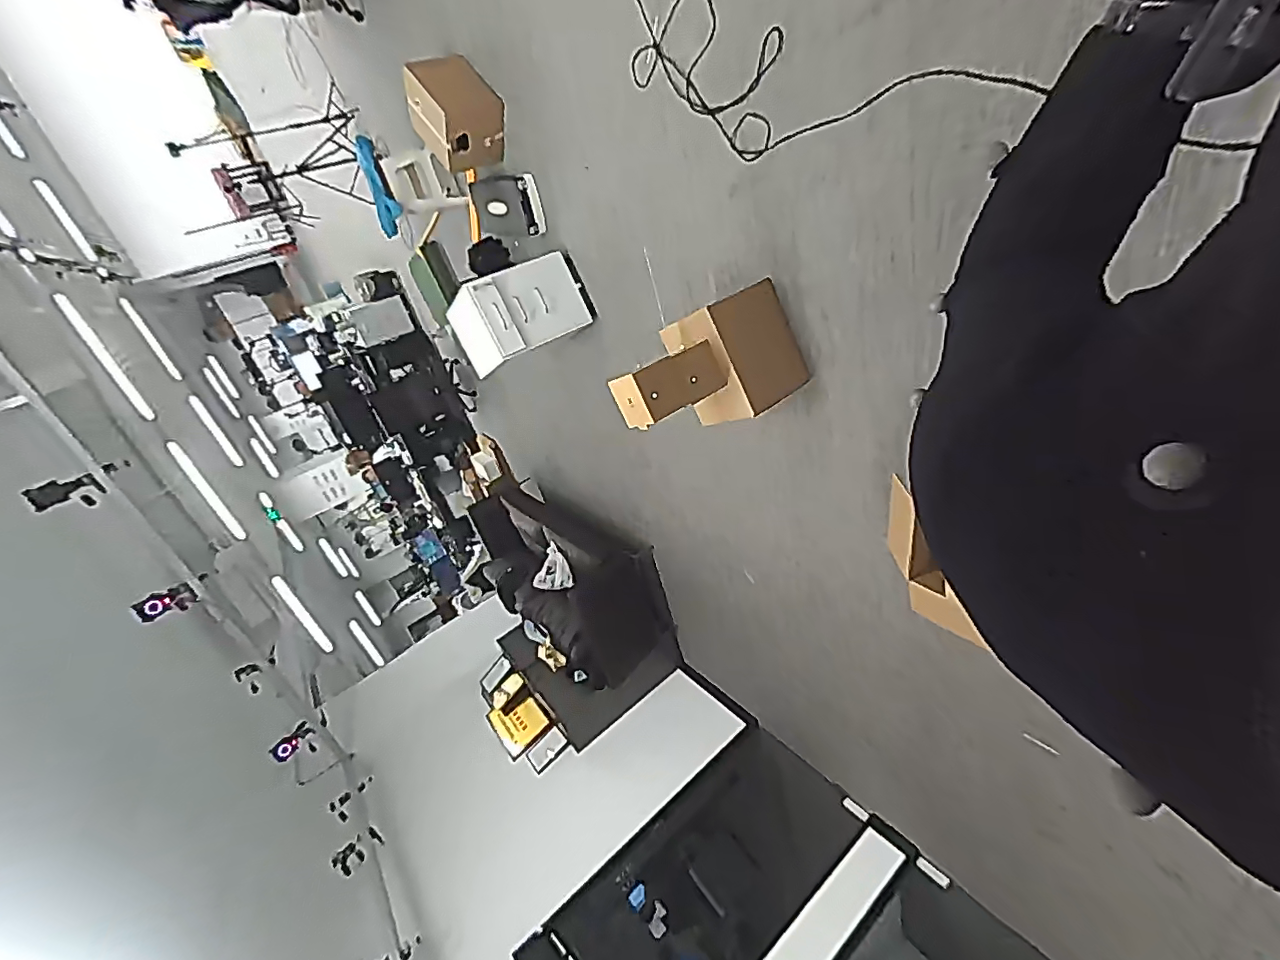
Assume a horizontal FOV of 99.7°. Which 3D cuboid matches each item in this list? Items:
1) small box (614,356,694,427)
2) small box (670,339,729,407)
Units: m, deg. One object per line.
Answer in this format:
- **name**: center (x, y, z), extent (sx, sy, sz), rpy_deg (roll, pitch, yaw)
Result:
- **small box**: center (0.049, -0.298, 1.804), extent (0.168, 0.176, 0.179), rpy_deg (-2, 117, 60)
- **small box**: center (0.179, -0.364, 1.878), extent (0.168, 0.176, 0.179), rpy_deg (-3, 116, 61)
